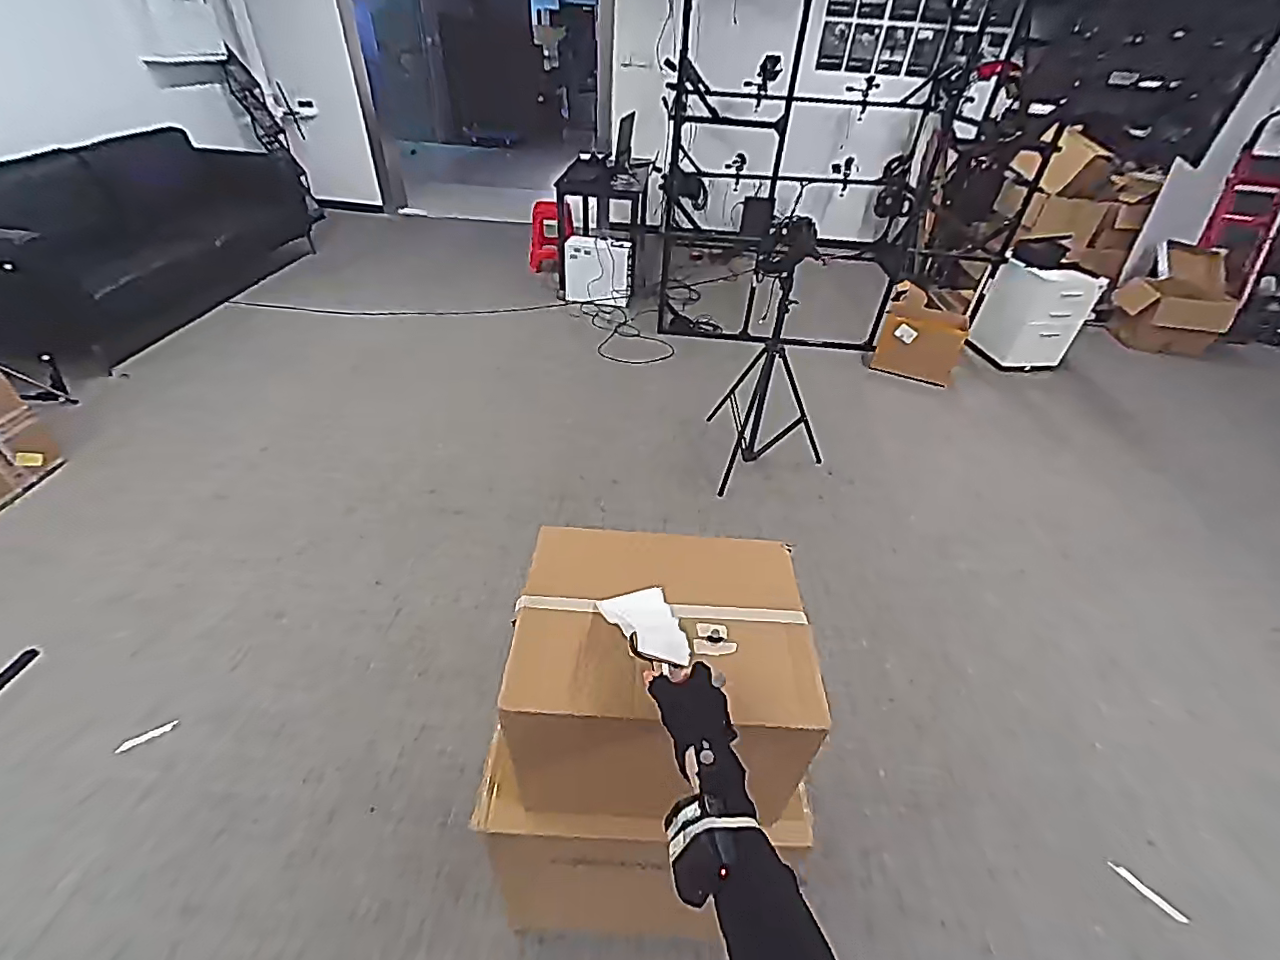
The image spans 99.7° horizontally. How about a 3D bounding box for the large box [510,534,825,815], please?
[{"bbox_3d":[0.026,0.311,0.875,0.408,0.320,0.320,4,39,-1],"label":"large box"}]
